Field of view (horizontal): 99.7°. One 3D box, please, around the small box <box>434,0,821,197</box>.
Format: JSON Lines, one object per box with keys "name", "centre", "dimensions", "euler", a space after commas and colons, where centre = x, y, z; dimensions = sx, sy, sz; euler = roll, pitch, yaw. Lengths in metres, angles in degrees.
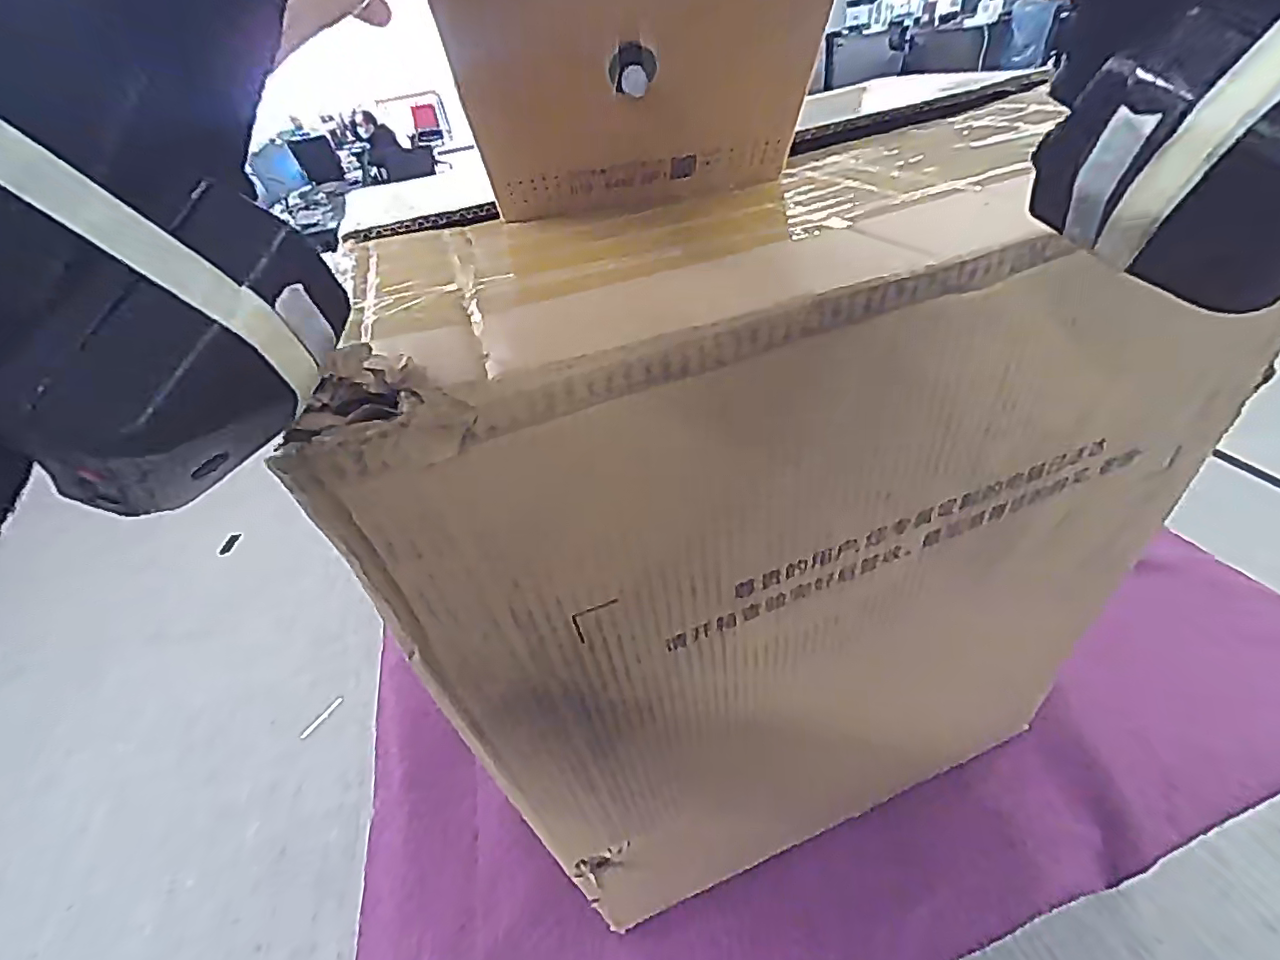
{"name": "small box", "centre": [-0.012, -0.264, 0.258], "dimensions": [0.168, 0.176, 0.179], "euler": [-10, 75, -3]}
